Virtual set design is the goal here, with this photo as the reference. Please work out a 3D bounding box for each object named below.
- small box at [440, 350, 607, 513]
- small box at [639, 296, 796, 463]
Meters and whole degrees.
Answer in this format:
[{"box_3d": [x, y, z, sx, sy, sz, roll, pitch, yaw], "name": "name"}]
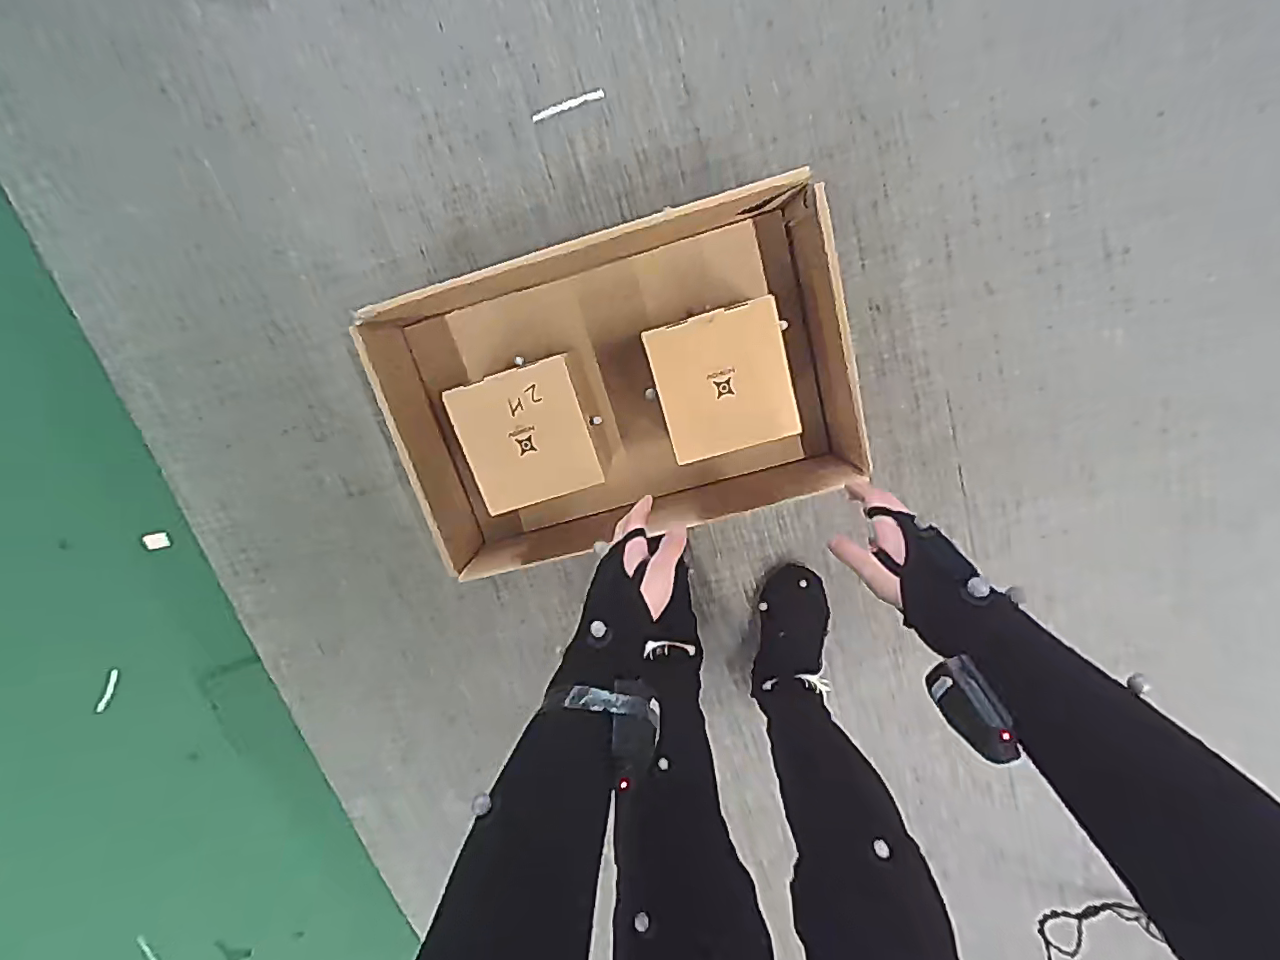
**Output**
[{"box_3d": [-0.150, -0.077, 0.771, 0.168, 0.176, 0.179, -16, 104, 5], "name": "small box"}, {"box_3d": [0.103, -0.143, 0.746, 0.168, 0.176, 0.179, -15, 104, 6], "name": "small box"}]
